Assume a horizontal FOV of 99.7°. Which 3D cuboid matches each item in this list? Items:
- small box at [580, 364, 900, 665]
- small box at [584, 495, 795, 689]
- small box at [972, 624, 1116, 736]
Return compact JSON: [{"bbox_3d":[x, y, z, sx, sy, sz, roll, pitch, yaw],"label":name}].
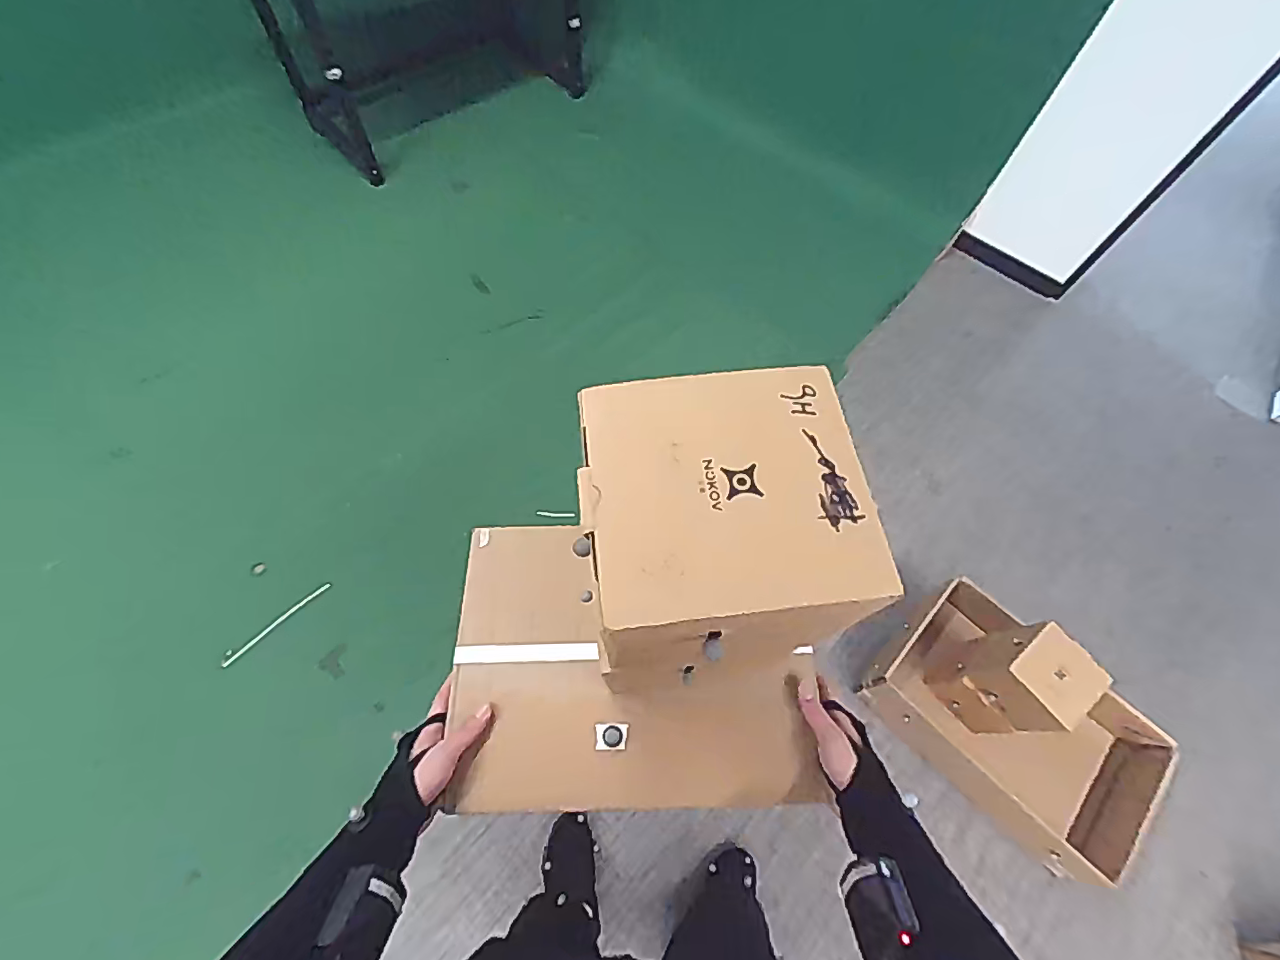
[{"bbox_3d":[0.055,0.036,0.408,0.179,0.176,0.168,-6,64,-3],"label":"small box"},{"bbox_3d":[0.042,0.112,0.554,0.179,0.176,0.168,-6,64,-4],"label":"small box"},{"bbox_3d":[0.919,0.462,1.248,0.179,0.176,0.168,-34,71,-18],"label":"small box"}]
